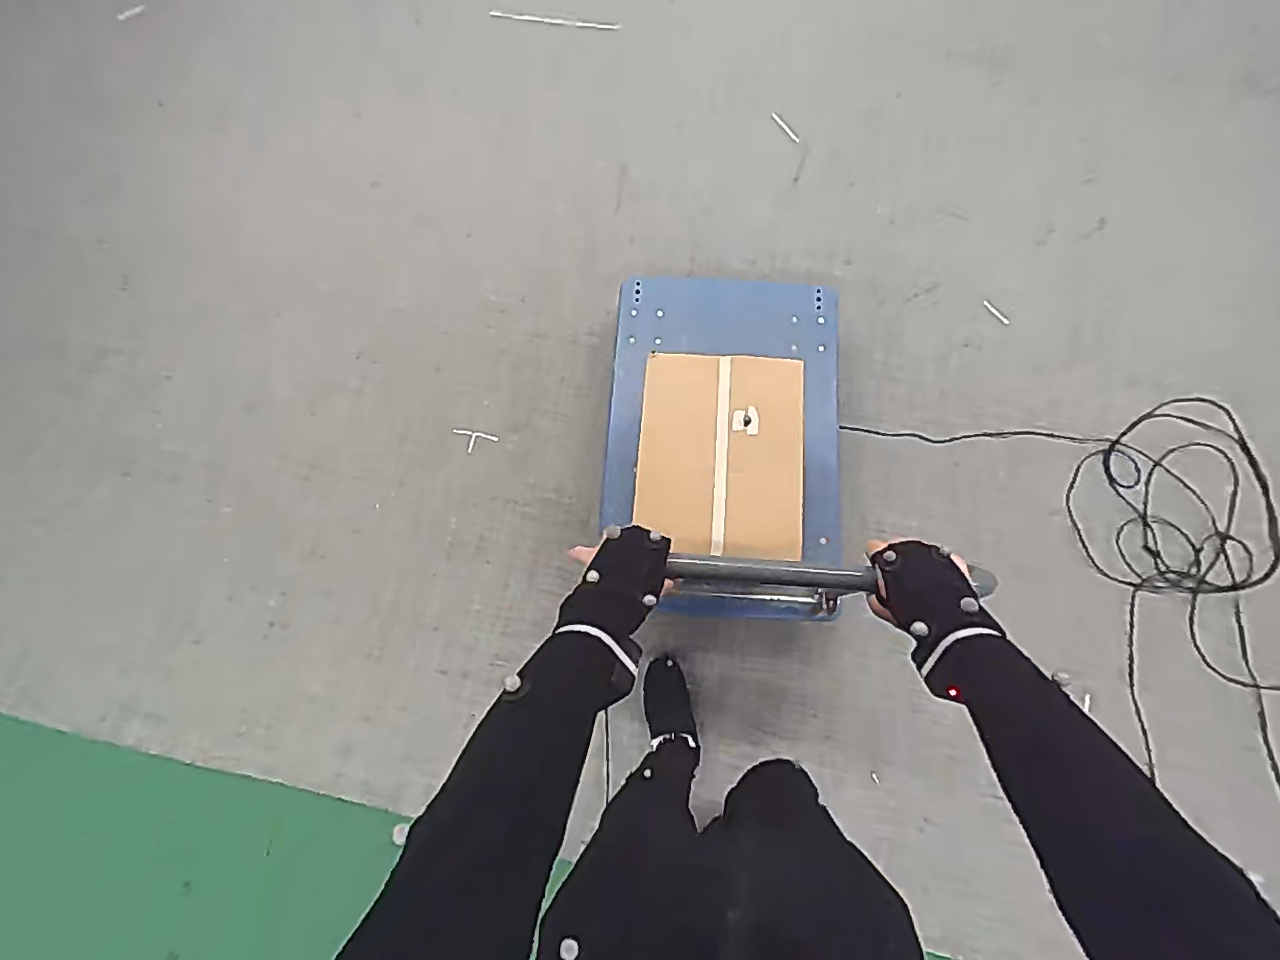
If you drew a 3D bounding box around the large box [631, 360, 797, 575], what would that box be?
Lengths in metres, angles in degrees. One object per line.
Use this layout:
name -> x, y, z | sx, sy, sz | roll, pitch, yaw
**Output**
large box -> 0.155, -0.009, 1.197 | 0.320, 0.320, 0.408 | 4, 75, 3
